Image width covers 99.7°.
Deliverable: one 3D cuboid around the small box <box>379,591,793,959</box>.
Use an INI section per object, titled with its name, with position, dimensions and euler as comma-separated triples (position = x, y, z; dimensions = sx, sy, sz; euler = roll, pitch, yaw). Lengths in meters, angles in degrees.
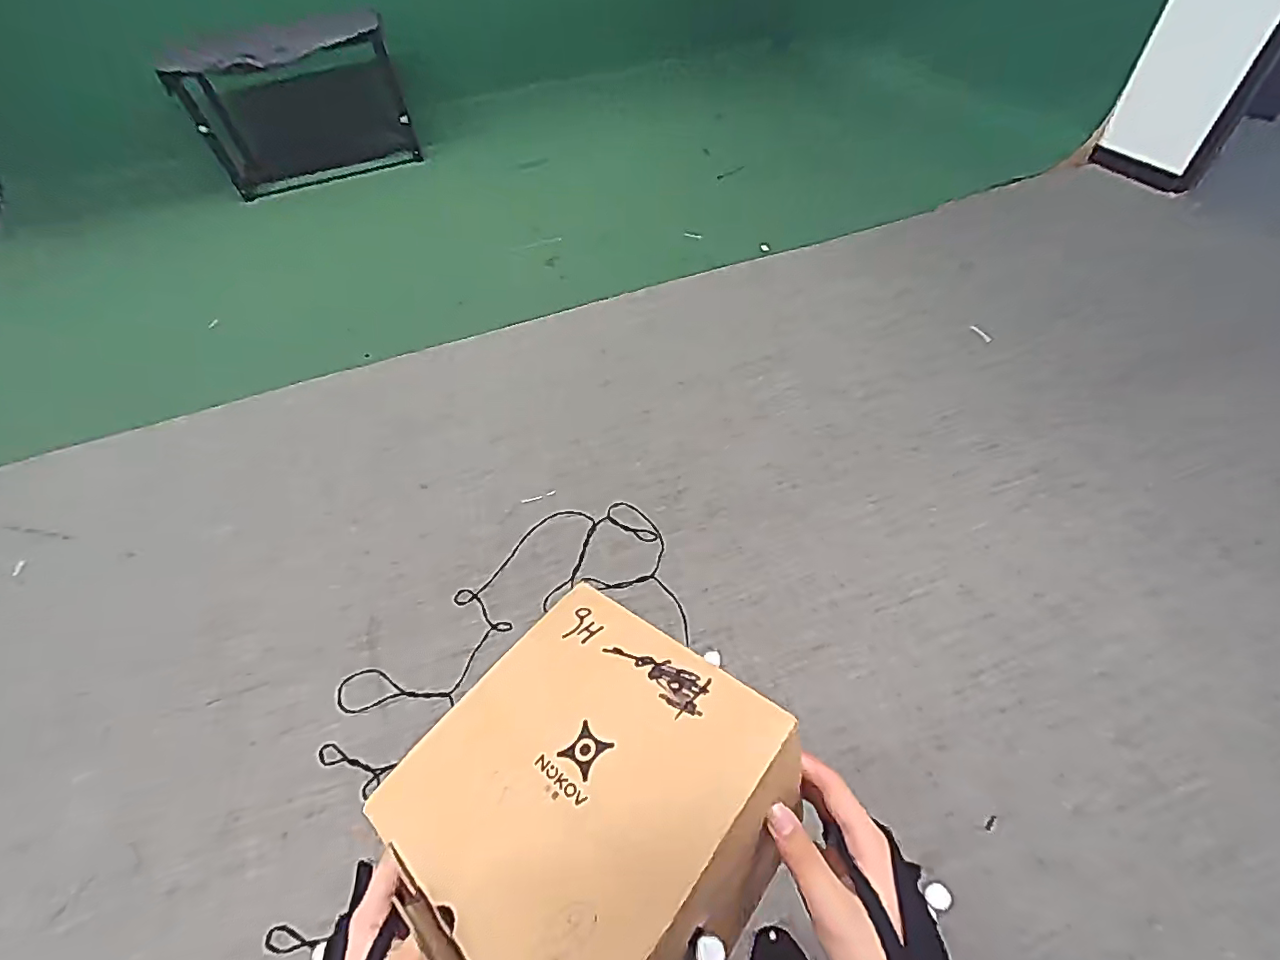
[small box]
position = -0.014, 0.213, 0.341
dimensions = 0.168, 0.176, 0.179
euler = 24, 56, 36
